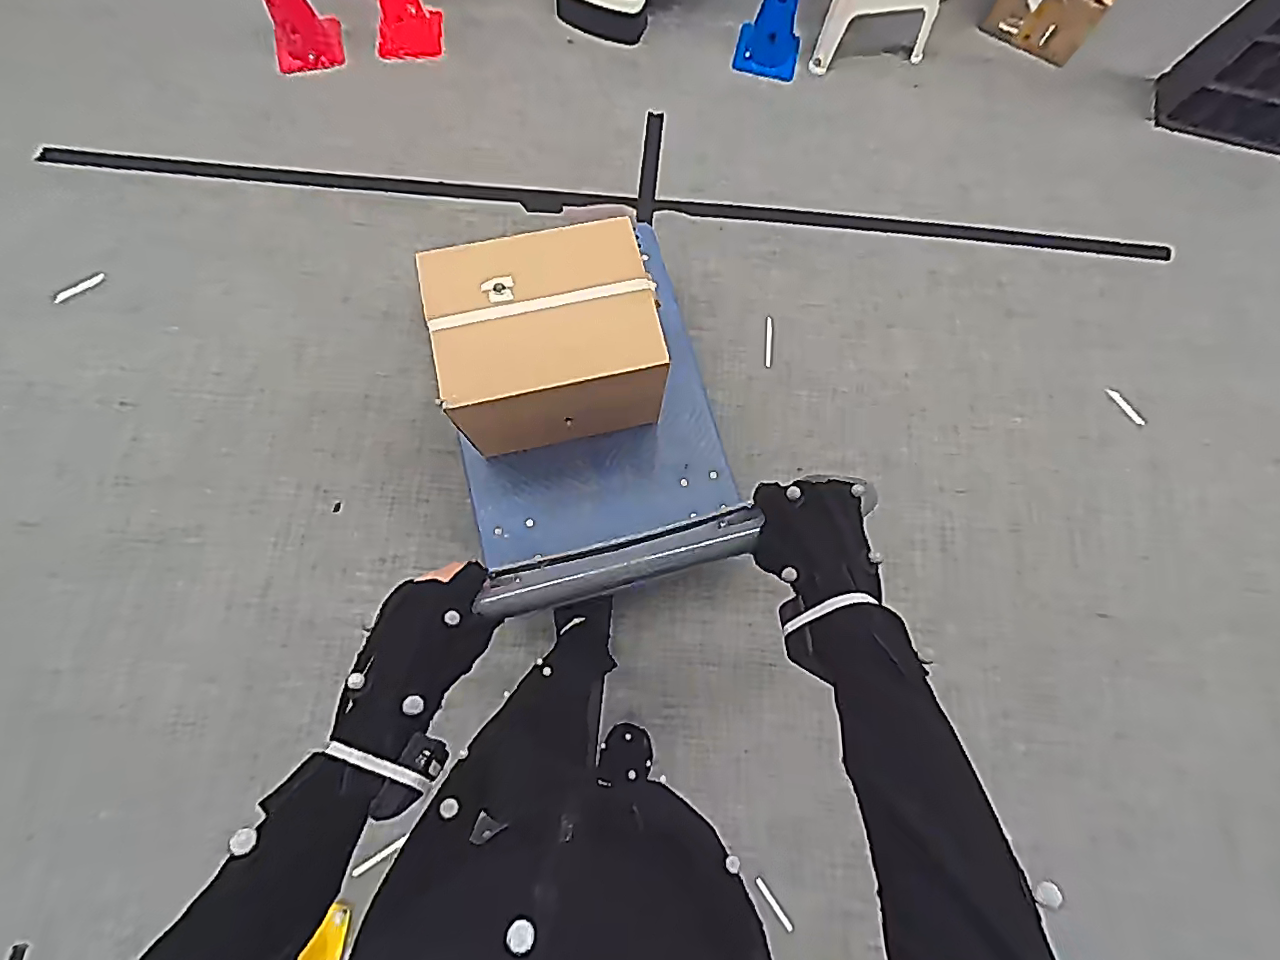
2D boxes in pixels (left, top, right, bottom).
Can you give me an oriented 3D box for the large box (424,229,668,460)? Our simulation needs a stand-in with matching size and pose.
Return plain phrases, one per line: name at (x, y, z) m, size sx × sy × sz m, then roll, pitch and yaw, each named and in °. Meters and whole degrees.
large box at (-0.179, -0.262, 1.134) m, size 0.408 × 0.320 × 0.320 m, roll -13°, pitch 77°, yaw -5°
